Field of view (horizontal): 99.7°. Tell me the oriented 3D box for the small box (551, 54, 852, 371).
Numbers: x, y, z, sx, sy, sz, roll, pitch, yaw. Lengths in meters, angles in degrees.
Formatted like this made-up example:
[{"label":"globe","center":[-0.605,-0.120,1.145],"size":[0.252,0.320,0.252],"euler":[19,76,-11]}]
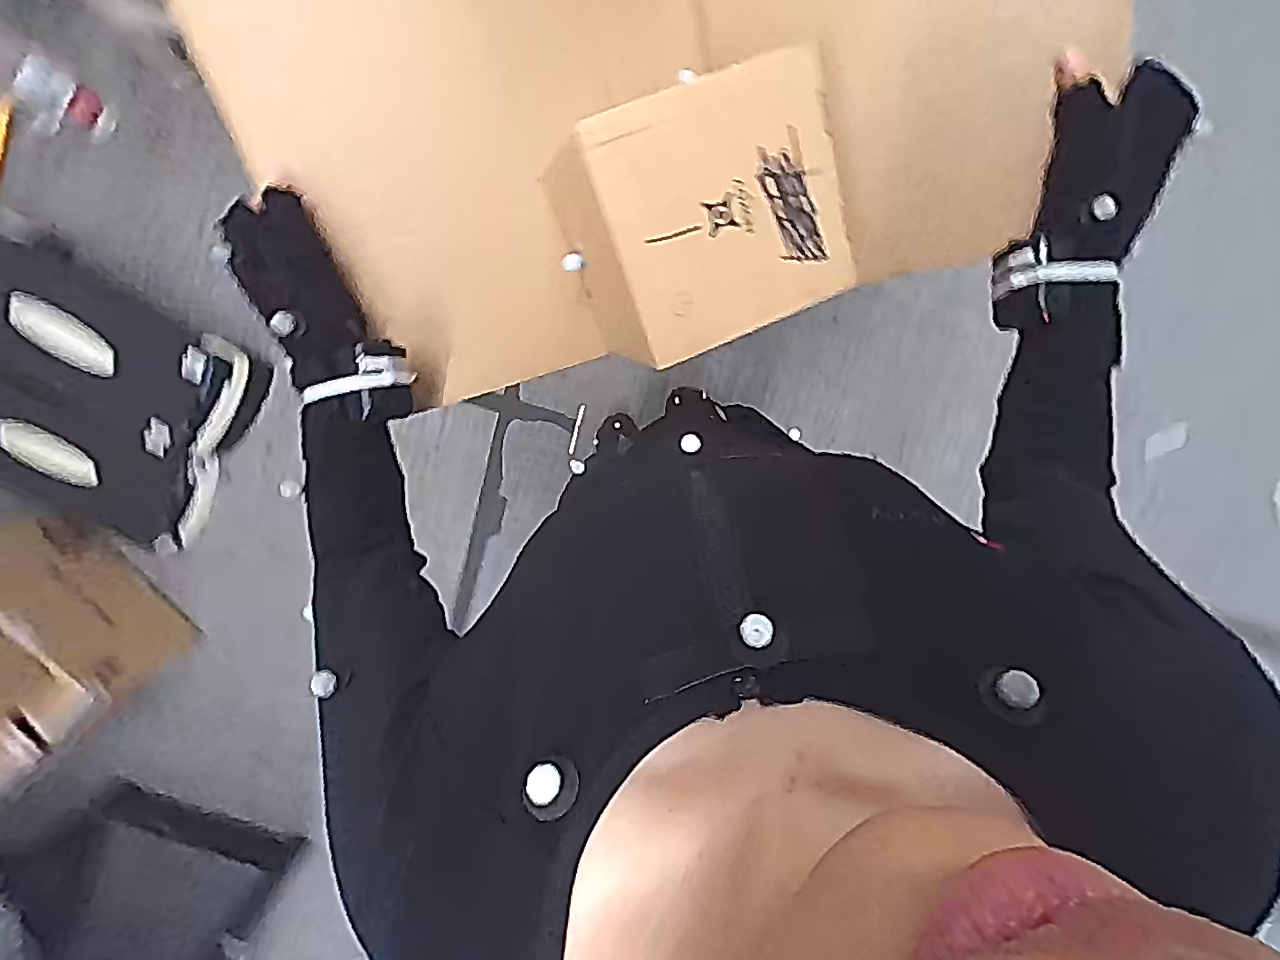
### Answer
[{"label":"small box","center":[0.042,-0.209,0.453],"size":[0.179,0.176,0.168],"euler":[-24,113,-7]}]
